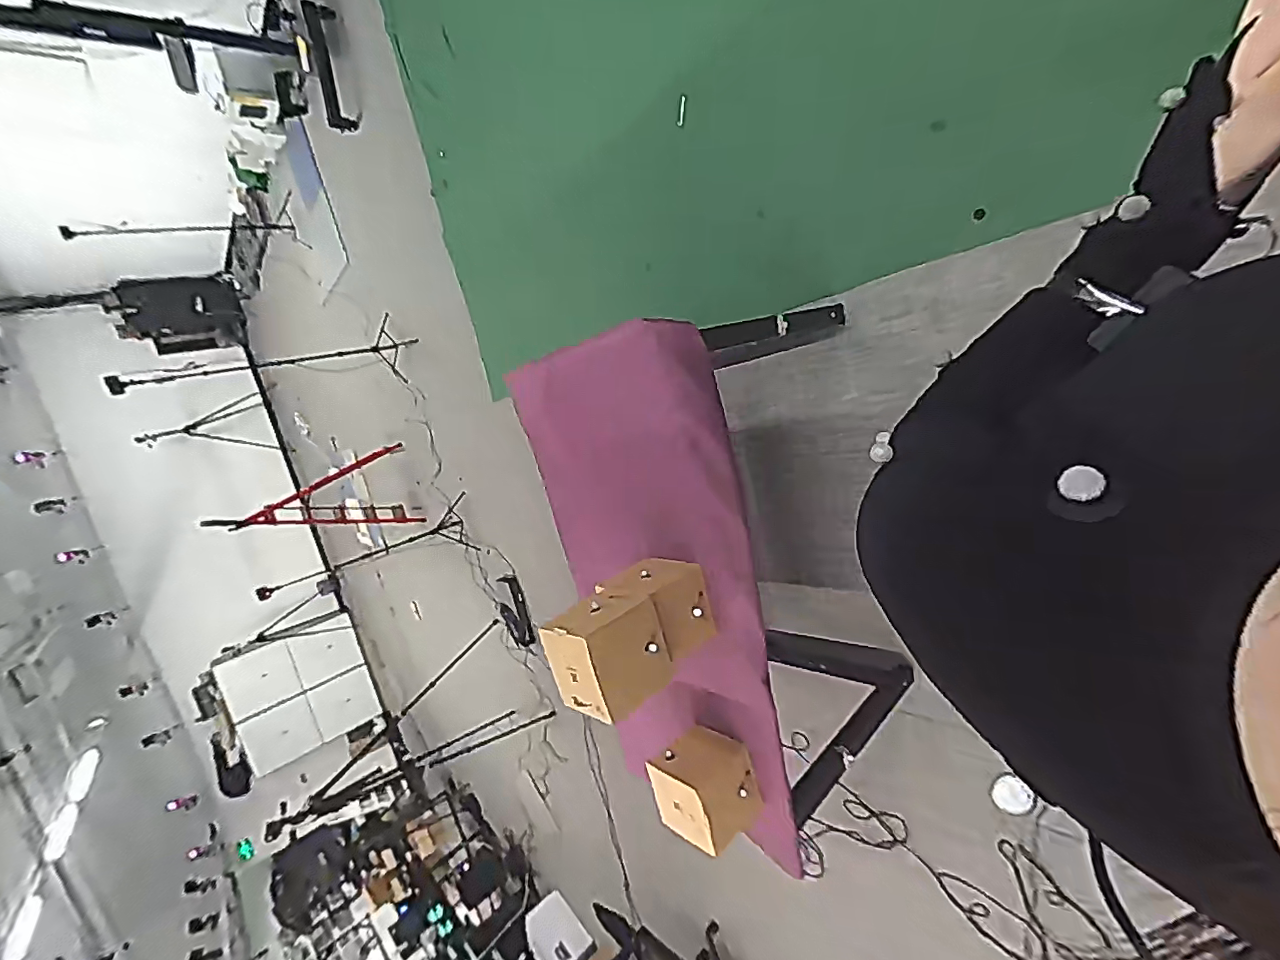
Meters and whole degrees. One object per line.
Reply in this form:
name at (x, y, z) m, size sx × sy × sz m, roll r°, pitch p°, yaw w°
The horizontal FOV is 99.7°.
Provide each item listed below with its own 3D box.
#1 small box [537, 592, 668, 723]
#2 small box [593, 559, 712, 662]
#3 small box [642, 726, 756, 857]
small box at (-0.070, 0.333, 1.059) m, size 0.168 × 0.176 × 0.179 m, roll -7°, pitch 101°, yaw 50°
small box at (0.029, 0.281, 1.181) m, size 0.179 × 0.176 × 0.168 m, roll -2°, pitch 105°, yaw 49°
small box at (0.136, 0.698, 1.240) m, size 0.179 × 0.176 × 0.168 m, roll -5°, pitch 103°, yaw 51°
